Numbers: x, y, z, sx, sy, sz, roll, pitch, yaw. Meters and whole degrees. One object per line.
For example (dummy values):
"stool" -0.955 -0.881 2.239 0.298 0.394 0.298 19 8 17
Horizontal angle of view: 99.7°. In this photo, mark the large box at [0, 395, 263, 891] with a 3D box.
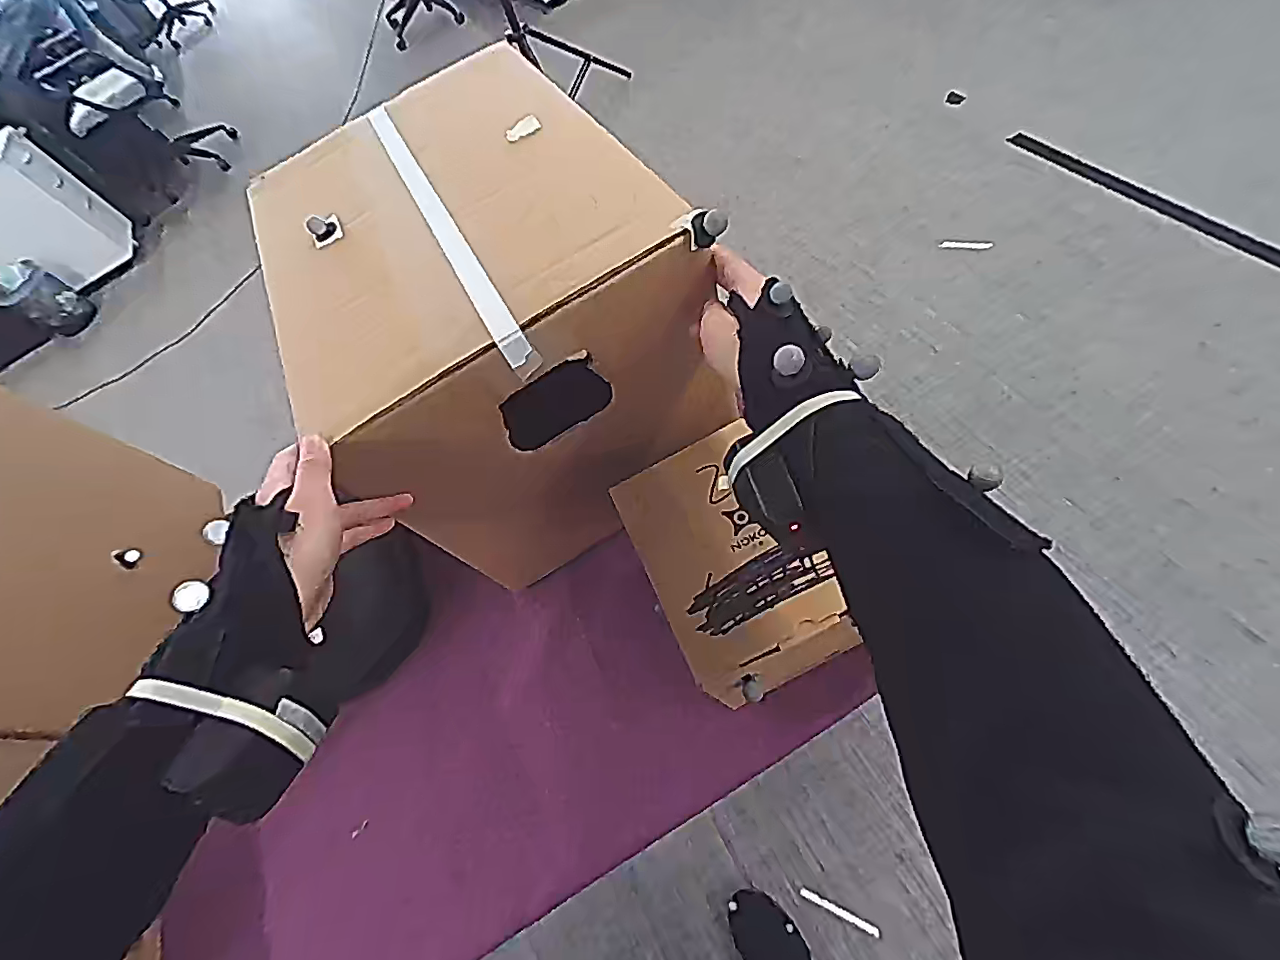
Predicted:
"large box" -0.697 0.176 0.591 0.320 0.320 0.408 -34 61 -2
